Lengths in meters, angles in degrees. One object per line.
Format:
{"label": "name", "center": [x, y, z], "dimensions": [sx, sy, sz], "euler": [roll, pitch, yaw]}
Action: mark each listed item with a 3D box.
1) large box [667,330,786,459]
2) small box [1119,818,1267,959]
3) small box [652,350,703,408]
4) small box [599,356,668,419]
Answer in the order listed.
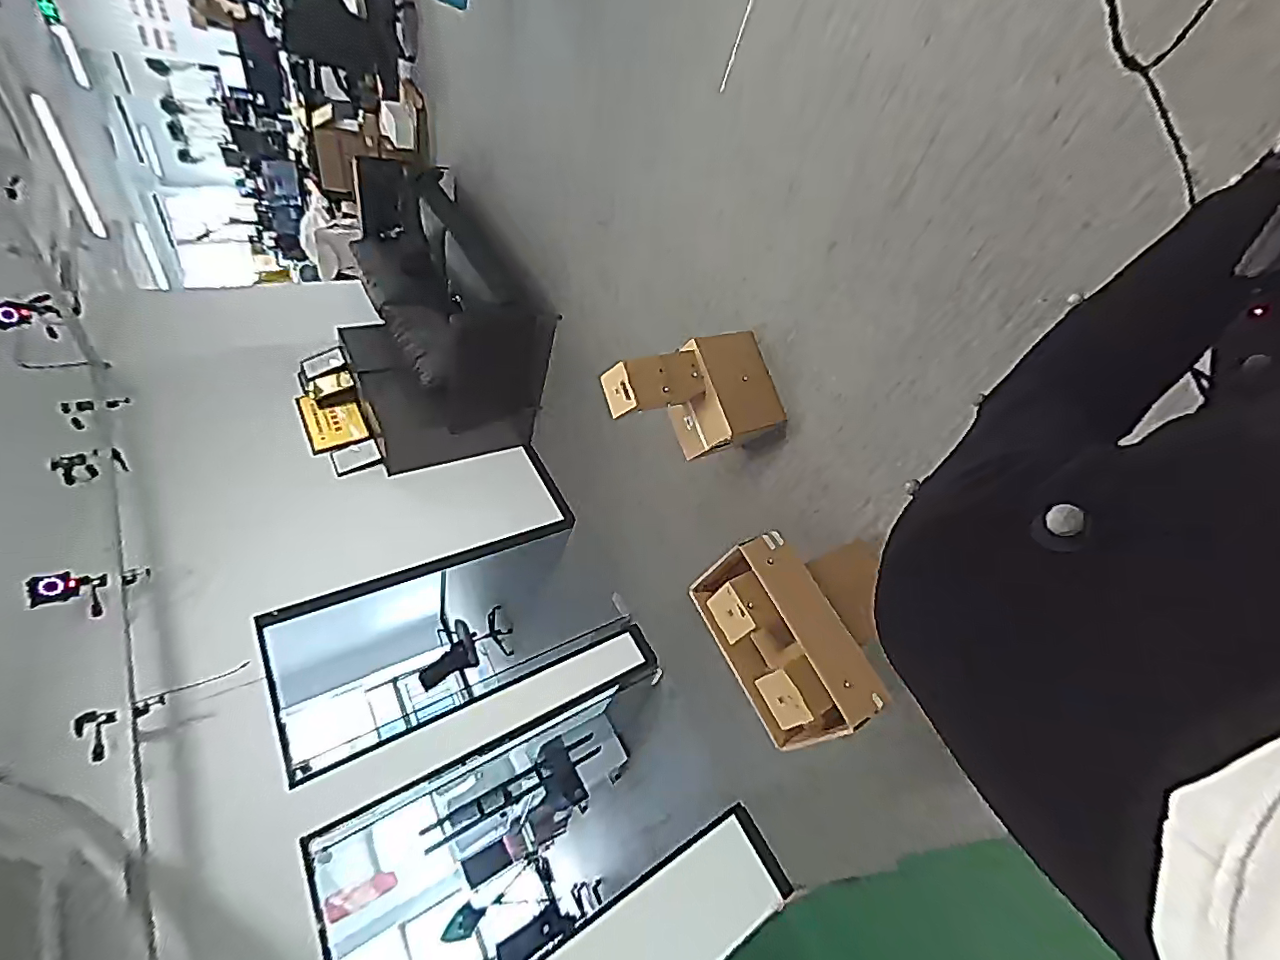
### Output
{"label": "large box", "center": [0.322, -0.348, 2.203], "dimensions": [0.320, 0.320, 0.408], "euler": [-32, 78, 58]}
{"label": "small box", "center": [1.102, 0.830, 1.077], "dimensions": [0.168, 0.176, 0.179], "euler": [-6, 98, 59]}
{"label": "small box", "center": [0.110, -0.380, 2.049], "dimensions": [0.179, 0.176, 0.168], "euler": [-20, 88, 56]}
{"label": "small box", "center": [-0.017, -0.337, 1.955], "dimensions": [0.179, 0.176, 0.168], "euler": [-19, 89, 58]}
